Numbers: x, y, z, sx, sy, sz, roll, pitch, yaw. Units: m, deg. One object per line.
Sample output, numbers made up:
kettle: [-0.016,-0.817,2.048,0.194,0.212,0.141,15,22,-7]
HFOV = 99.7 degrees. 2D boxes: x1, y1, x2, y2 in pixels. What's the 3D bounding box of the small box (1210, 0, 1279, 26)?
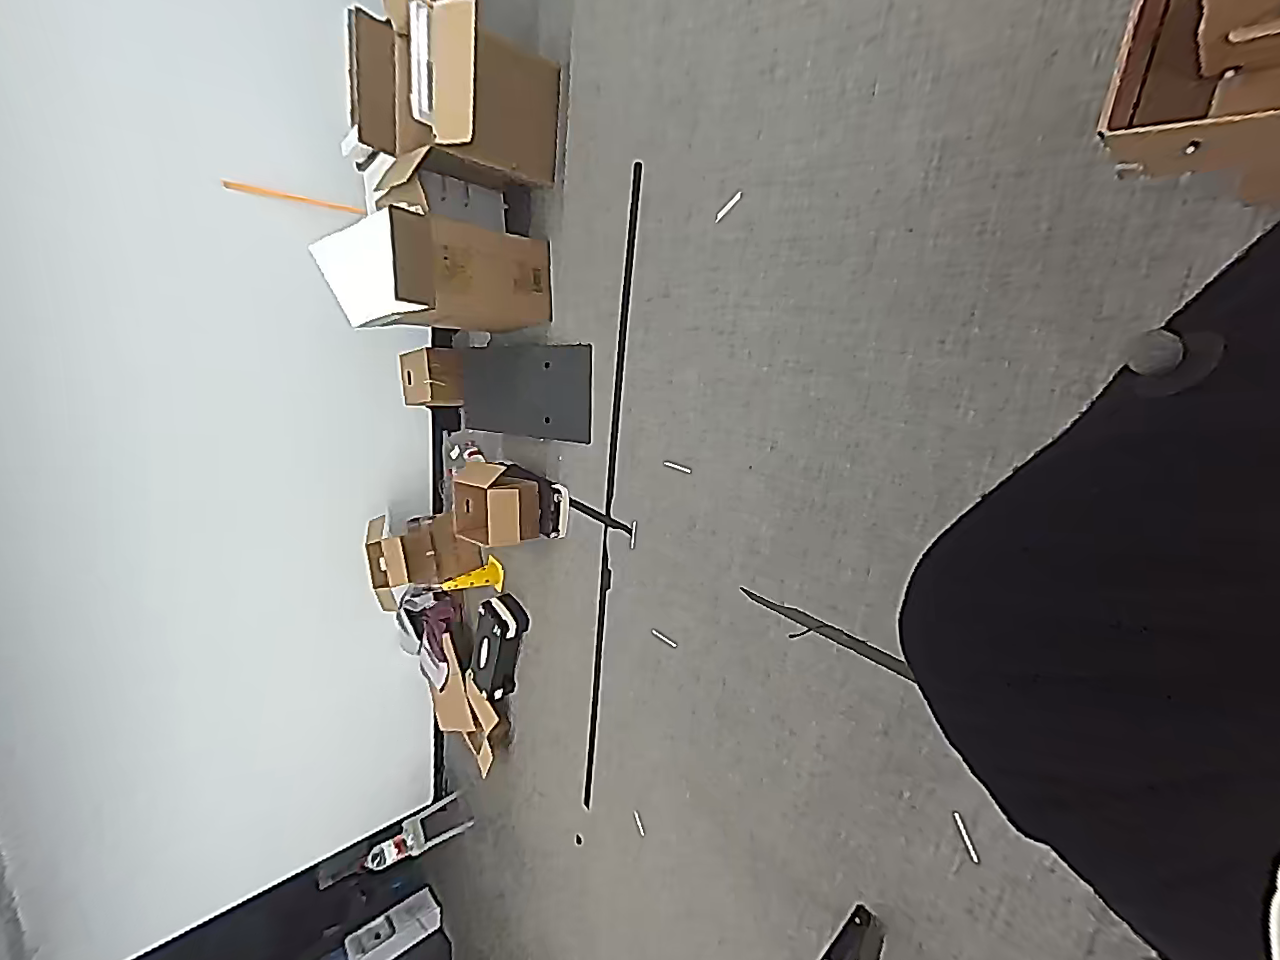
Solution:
small box: [0.750,-0.651,0.583,0.168,0.176,0.179,19,110,45]
